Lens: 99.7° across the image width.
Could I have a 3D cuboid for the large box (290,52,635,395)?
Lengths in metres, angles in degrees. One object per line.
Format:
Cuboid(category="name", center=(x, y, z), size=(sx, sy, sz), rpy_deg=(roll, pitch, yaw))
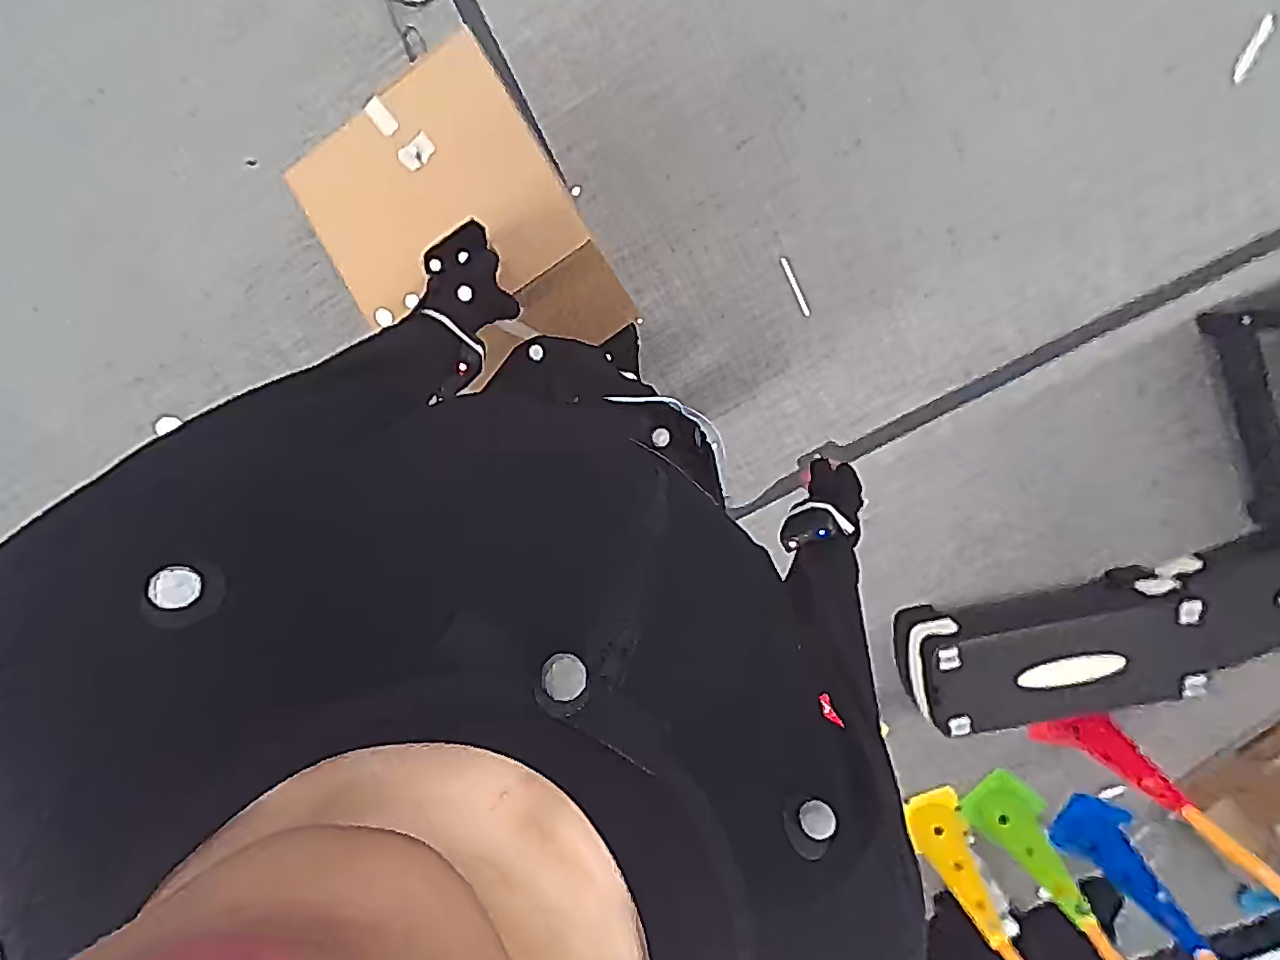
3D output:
Cuboid(category="large box", center=(-0.250, -0.364, 0.900), size=(0.320, 0.408, 0.320), rpy_deg=(-31, 89, 11))
